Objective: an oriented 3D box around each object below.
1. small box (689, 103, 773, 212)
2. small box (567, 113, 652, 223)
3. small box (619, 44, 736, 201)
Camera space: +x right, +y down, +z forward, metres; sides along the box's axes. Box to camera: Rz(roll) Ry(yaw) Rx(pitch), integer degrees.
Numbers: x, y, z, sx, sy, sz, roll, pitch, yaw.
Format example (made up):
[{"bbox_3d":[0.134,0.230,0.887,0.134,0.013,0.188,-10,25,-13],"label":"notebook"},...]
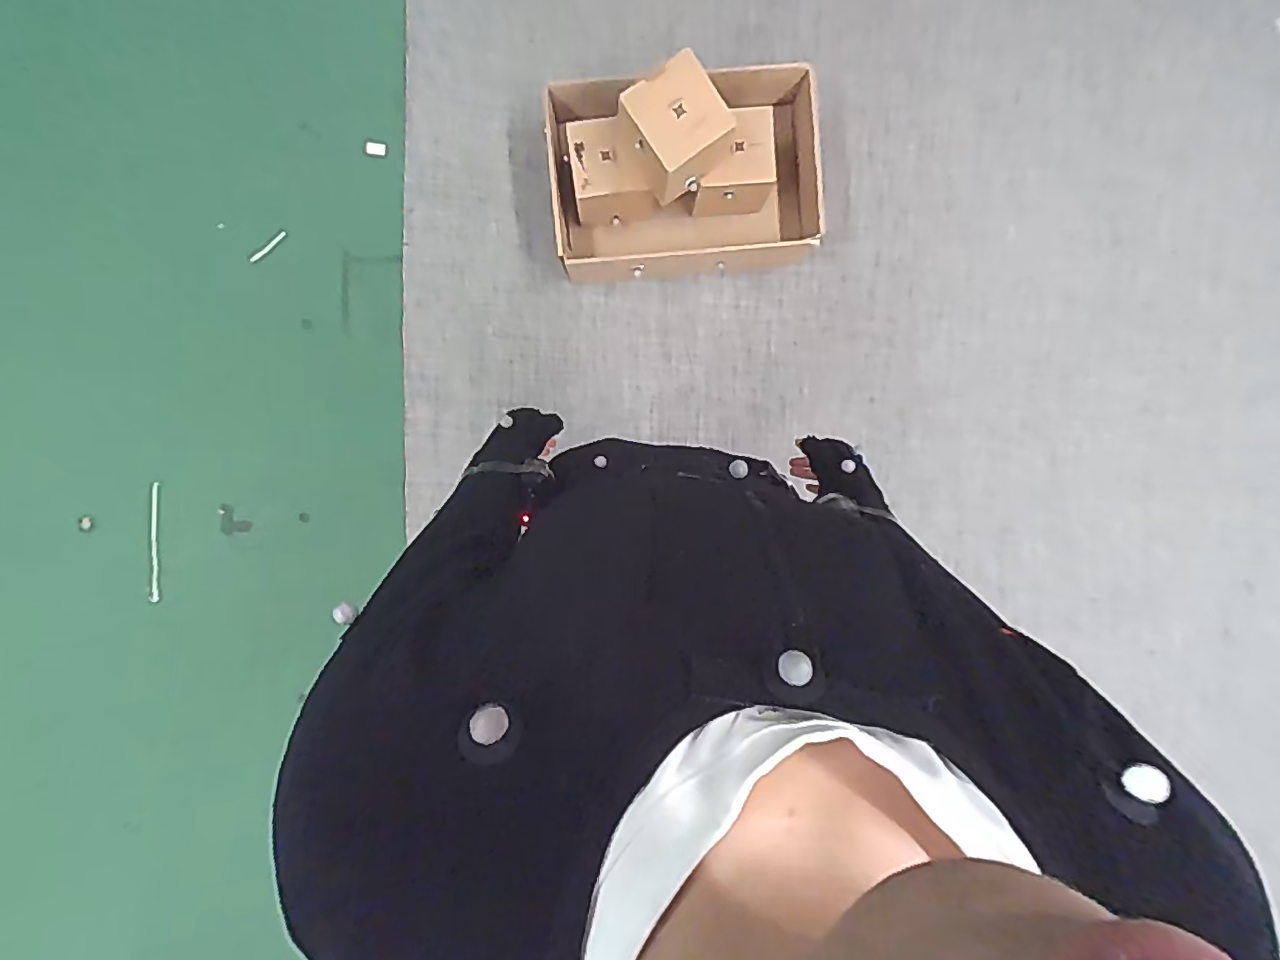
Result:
[{"bbox_3d":[0.207,-0.754,1.282,0.179,0.176,0.168,-4,95,-1],"label":"small box"},{"bbox_3d":[-0.073,-0.729,1.275,0.179,0.176,0.168,-8,94,-3],"label":"small box"},{"bbox_3d":[0.069,-0.725,1.119,0.168,0.176,0.179,-36,96,1],"label":"small box"}]
